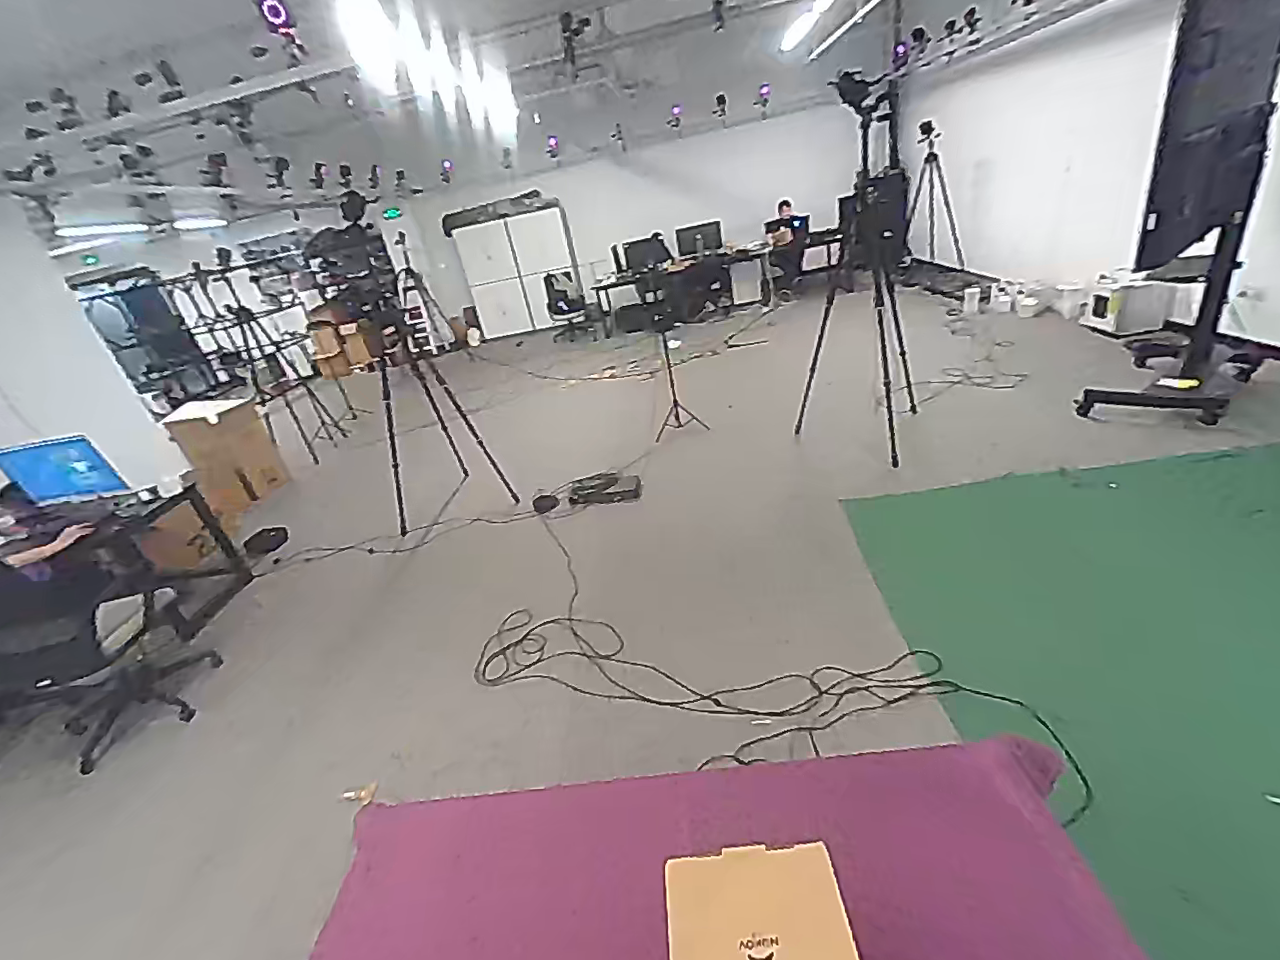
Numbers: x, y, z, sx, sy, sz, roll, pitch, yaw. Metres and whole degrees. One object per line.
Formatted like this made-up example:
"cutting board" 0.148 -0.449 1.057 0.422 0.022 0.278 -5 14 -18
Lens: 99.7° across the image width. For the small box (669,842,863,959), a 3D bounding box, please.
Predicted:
"small box" 0.121 0.482 0.506 0.168 0.176 0.179 -9 29 5
